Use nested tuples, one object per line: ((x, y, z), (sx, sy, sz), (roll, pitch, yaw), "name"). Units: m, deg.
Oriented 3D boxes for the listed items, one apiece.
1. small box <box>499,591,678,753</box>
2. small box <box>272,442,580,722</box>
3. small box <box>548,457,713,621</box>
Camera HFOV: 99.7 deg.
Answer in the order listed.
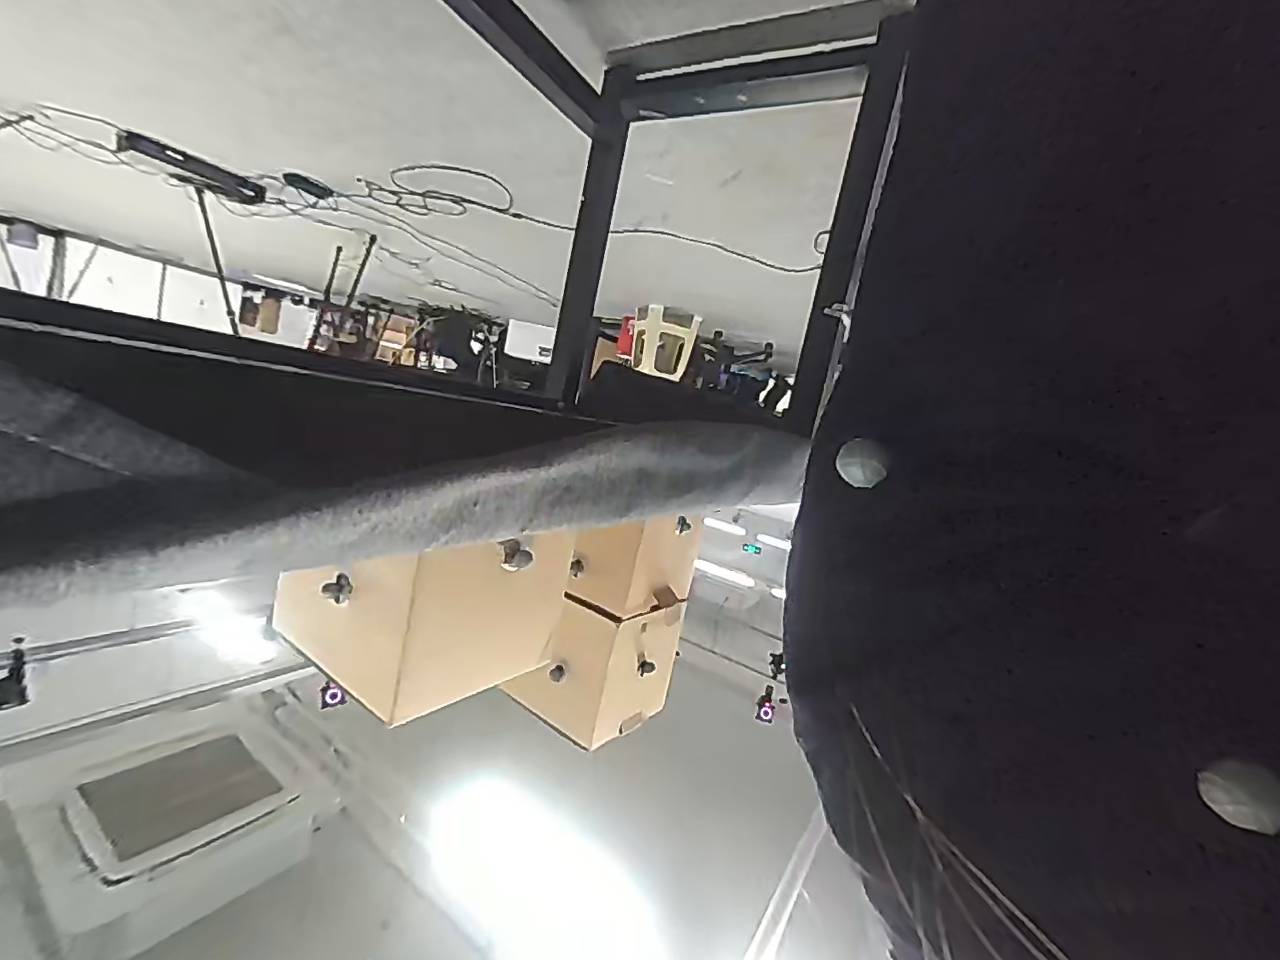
((-0.063, 0.224, 0.735), (0.179, 0.176, 0.168), (16, -173, 34), "small box")
((-0.176, 0.064, 0.464), (0.179, 0.176, 0.168), (17, -172, 31), "small box")
((-0.026, 0.065, 0.723), (0.179, 0.176, 0.168), (17, -173, 33), "small box")
